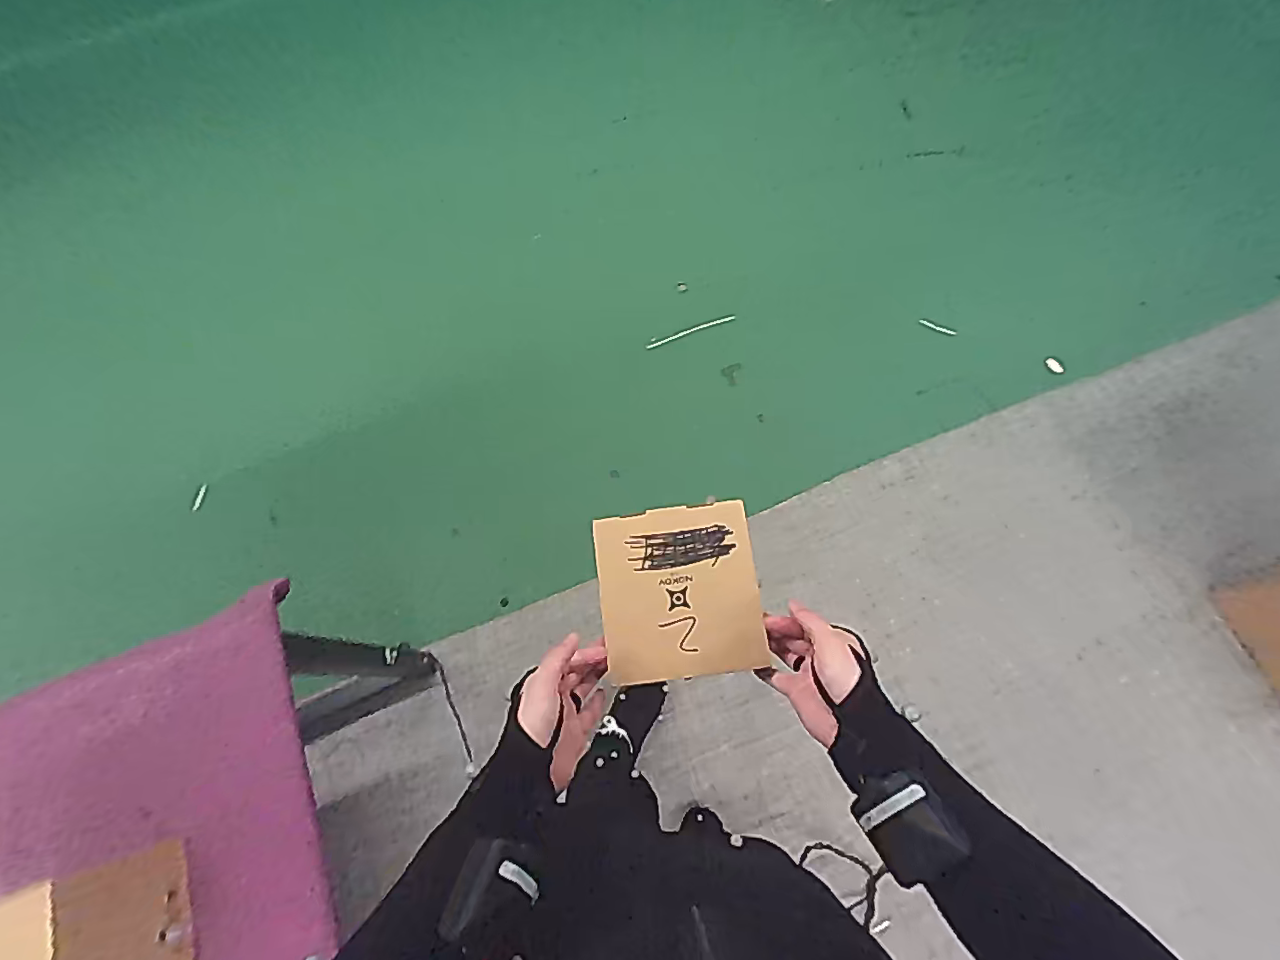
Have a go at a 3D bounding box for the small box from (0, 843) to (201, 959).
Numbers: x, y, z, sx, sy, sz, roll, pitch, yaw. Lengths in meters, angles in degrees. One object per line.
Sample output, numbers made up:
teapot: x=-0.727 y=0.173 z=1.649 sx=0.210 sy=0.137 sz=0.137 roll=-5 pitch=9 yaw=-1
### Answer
small box: x=-0.630 y=0.534 z=0.585 sx=0.179 sy=0.176 sz=0.168 roll=-21 pitch=71 yaw=-5
